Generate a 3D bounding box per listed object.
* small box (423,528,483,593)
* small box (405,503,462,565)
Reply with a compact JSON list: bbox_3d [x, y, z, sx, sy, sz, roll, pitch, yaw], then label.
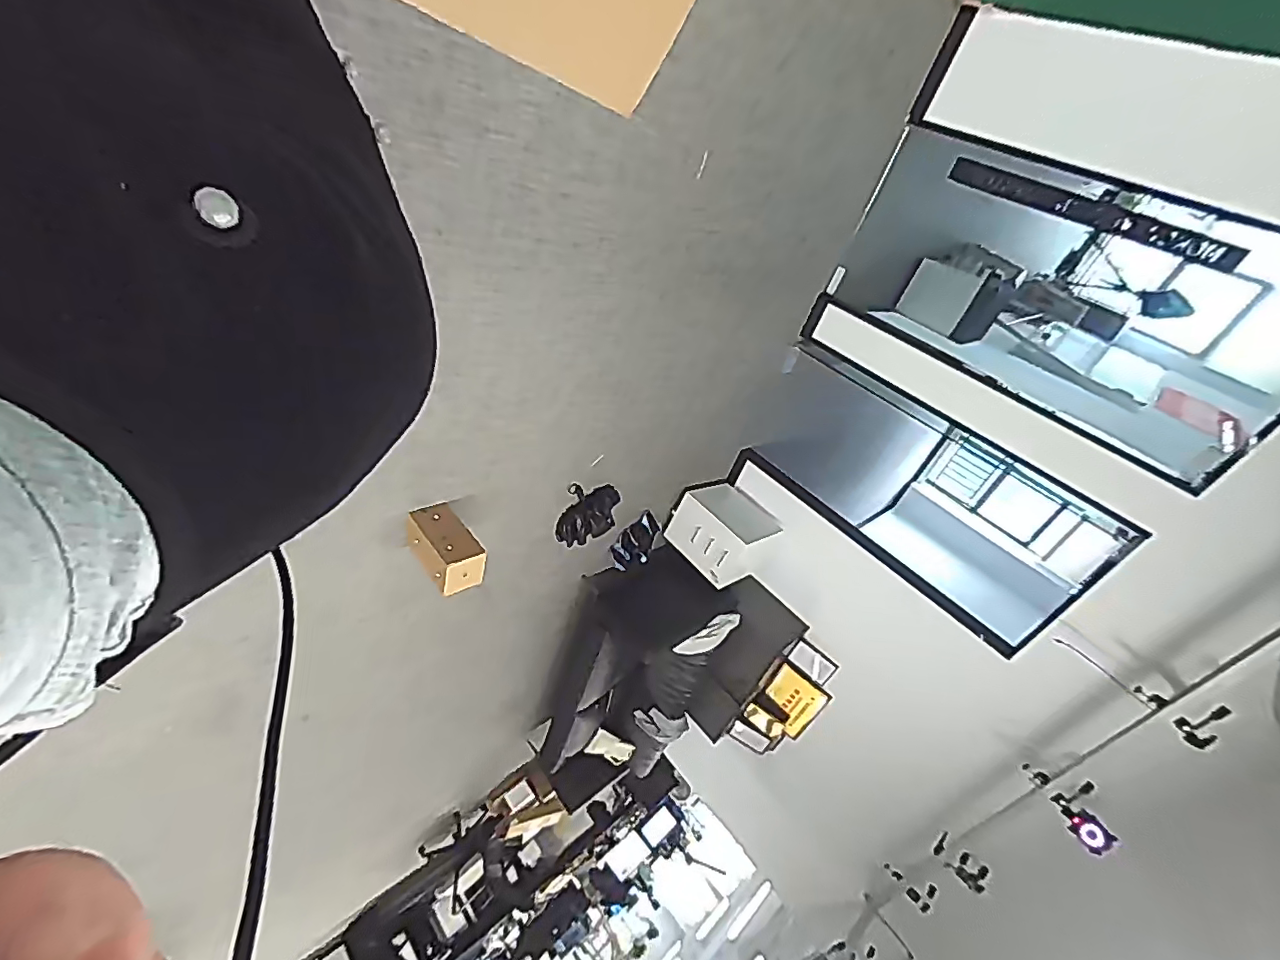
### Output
[{"bbox_3d":[-0.749,0.310,2.154,0.168,0.176,0.179,-18,142,-41],"label":"small box"},{"bbox_3d":[-0.856,0.215,2.232,0.168,0.176,0.179,-20,141,-41],"label":"small box"}]
